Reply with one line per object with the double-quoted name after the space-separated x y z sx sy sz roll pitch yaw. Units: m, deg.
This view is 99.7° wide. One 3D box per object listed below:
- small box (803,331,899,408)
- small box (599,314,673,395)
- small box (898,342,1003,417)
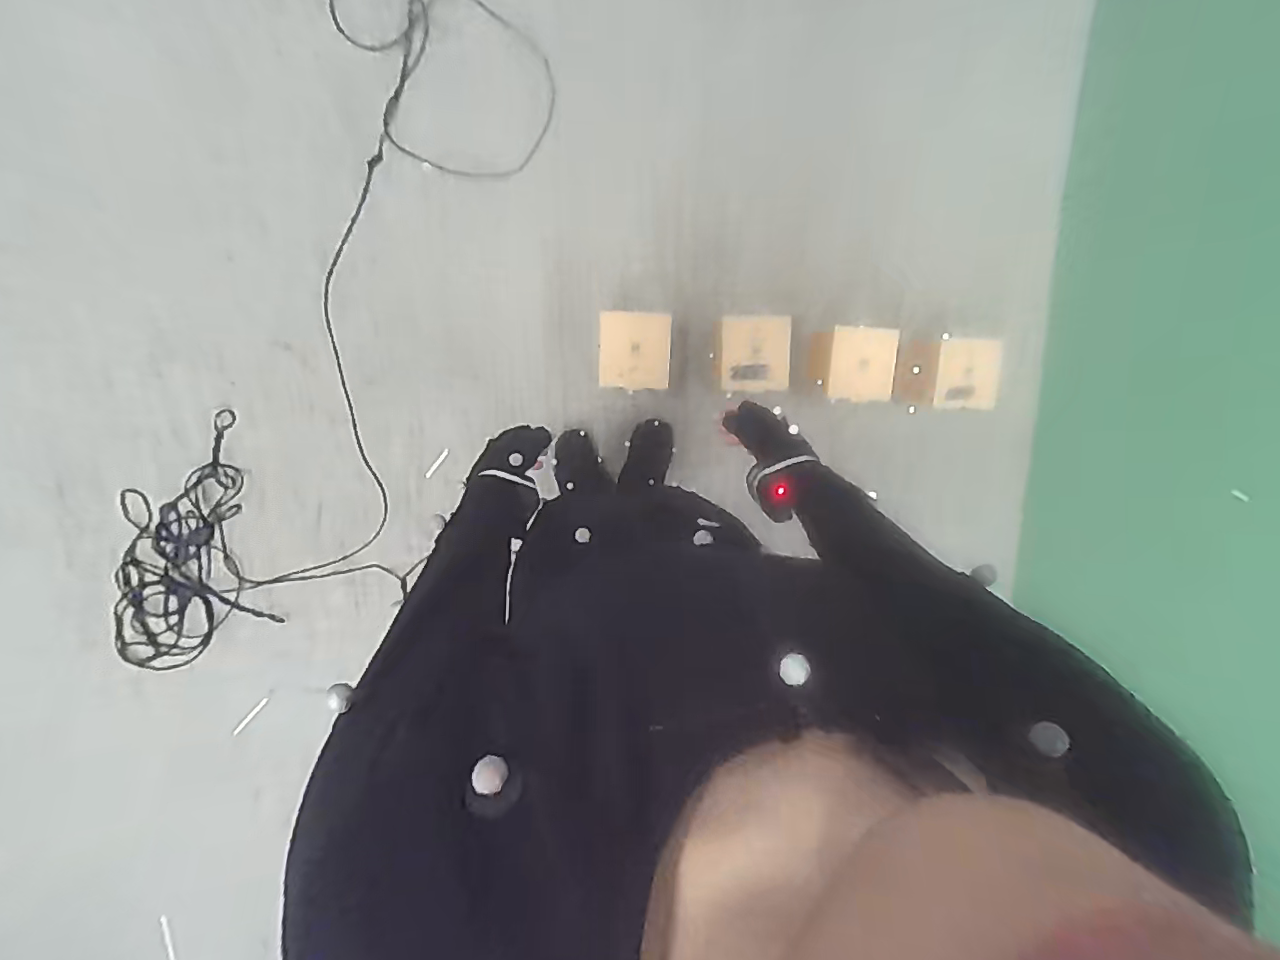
0.530 -0.278 1.380 0.168 0.176 0.179 2 100 -6 "small box"
-0.015 -0.301 1.326 0.168 0.176 0.179 2 99 -4 "small box"
0.798 -0.259 1.407 0.168 0.176 0.179 1 98 -5 "small box"
